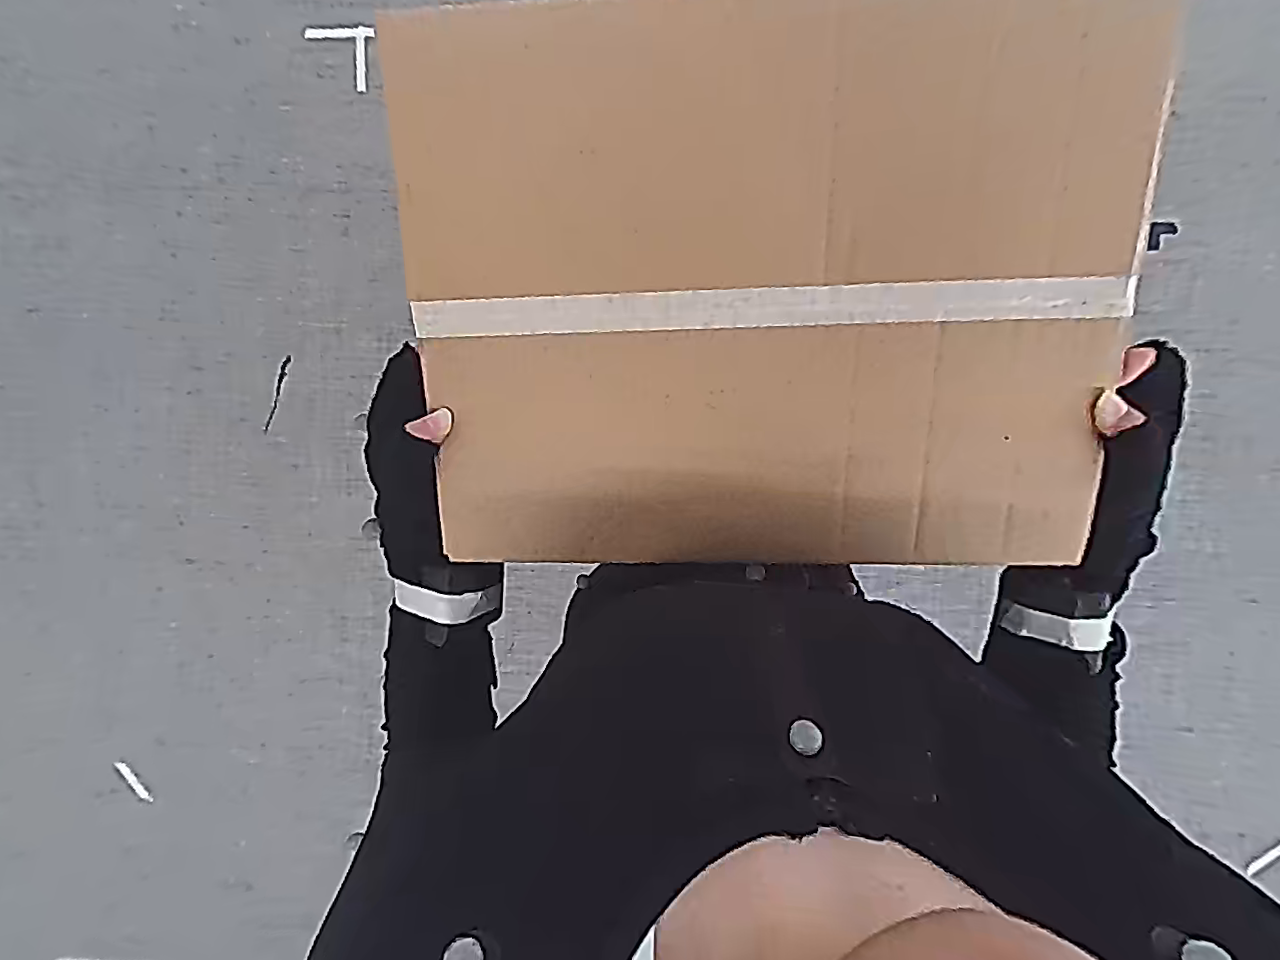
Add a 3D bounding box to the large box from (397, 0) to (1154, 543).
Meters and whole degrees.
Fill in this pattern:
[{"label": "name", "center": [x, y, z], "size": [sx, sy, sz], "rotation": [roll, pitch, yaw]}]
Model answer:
[{"label": "large box", "center": [0.075, -0.146, 0.464], "size": [0.408, 0.320, 0.320], "rotation": [0, 106, 4]}]
